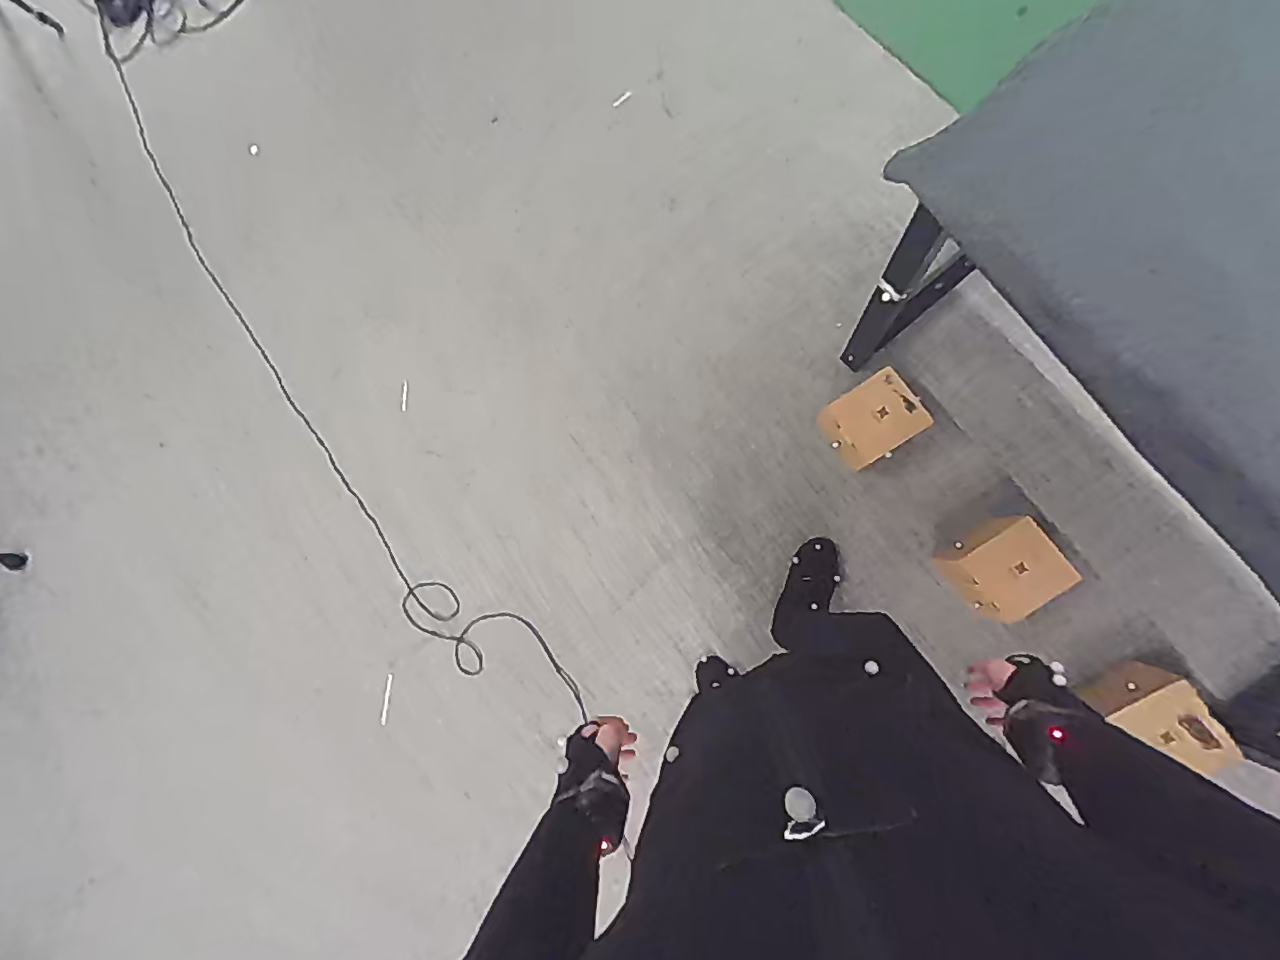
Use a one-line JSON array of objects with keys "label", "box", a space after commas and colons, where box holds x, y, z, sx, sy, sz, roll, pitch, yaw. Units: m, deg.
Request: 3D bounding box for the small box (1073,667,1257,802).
[{"label": "small box", "box": [1.060, 0.510, 1.113, 0.179, 0.176, 0.168, -34, 78, 8]}]

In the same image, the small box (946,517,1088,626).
[{"label": "small box", "box": [0.820, 0.200, 1.205, 0.179, 0.176, 0.168, -36, 79, 4]}]
